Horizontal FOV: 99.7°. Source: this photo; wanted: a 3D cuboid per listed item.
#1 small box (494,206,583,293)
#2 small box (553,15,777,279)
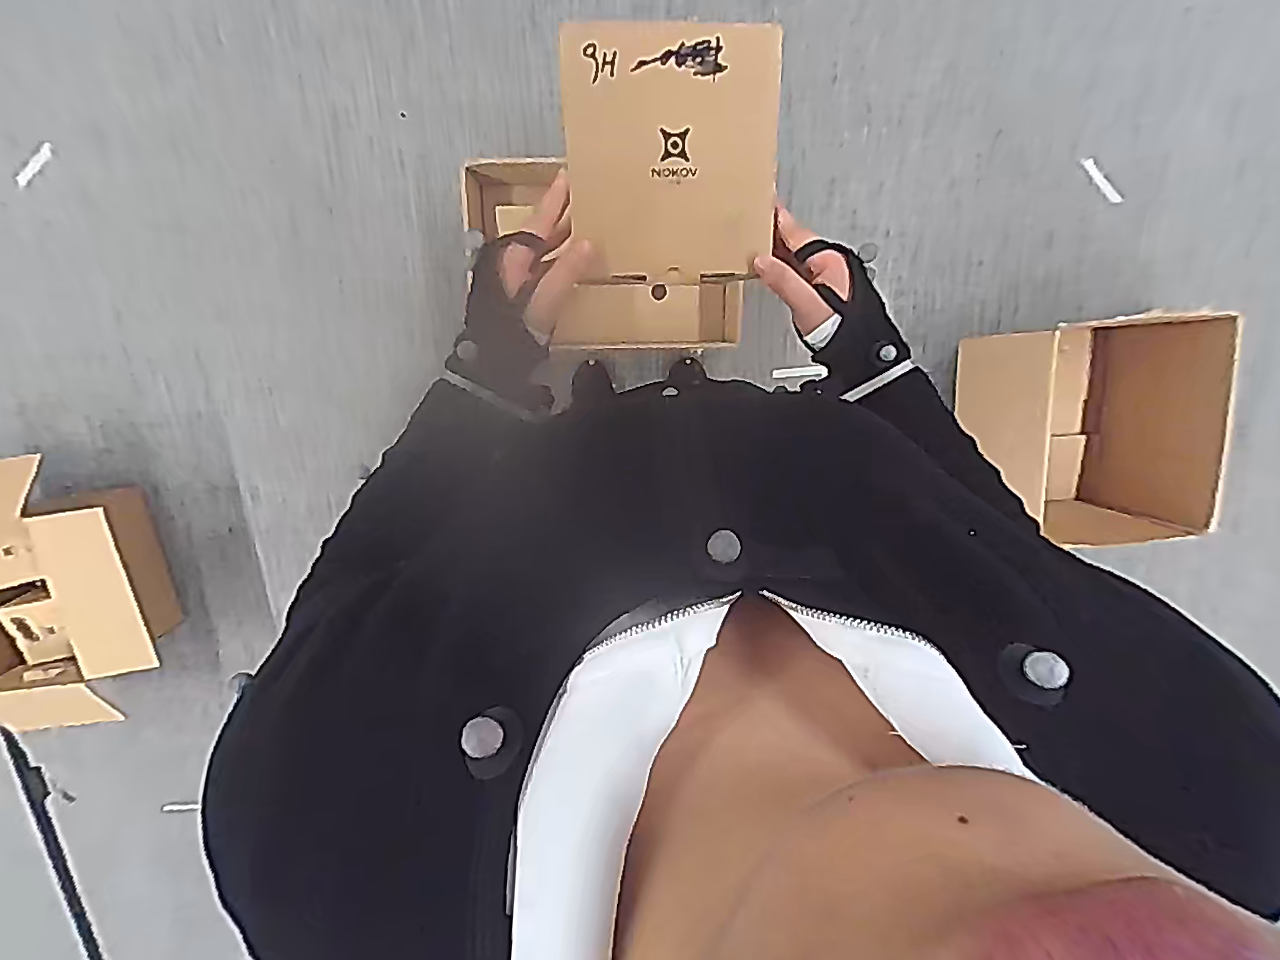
[{"bbox_3d":[-0.225,-0.524,1.245,0.179,0.176,0.168,-2,105,-3],"label":"small box"},{"bbox_3d":[0.013,-0.277,0.492,0.168,0.176,0.179,-3,110,-5],"label":"small box"}]
